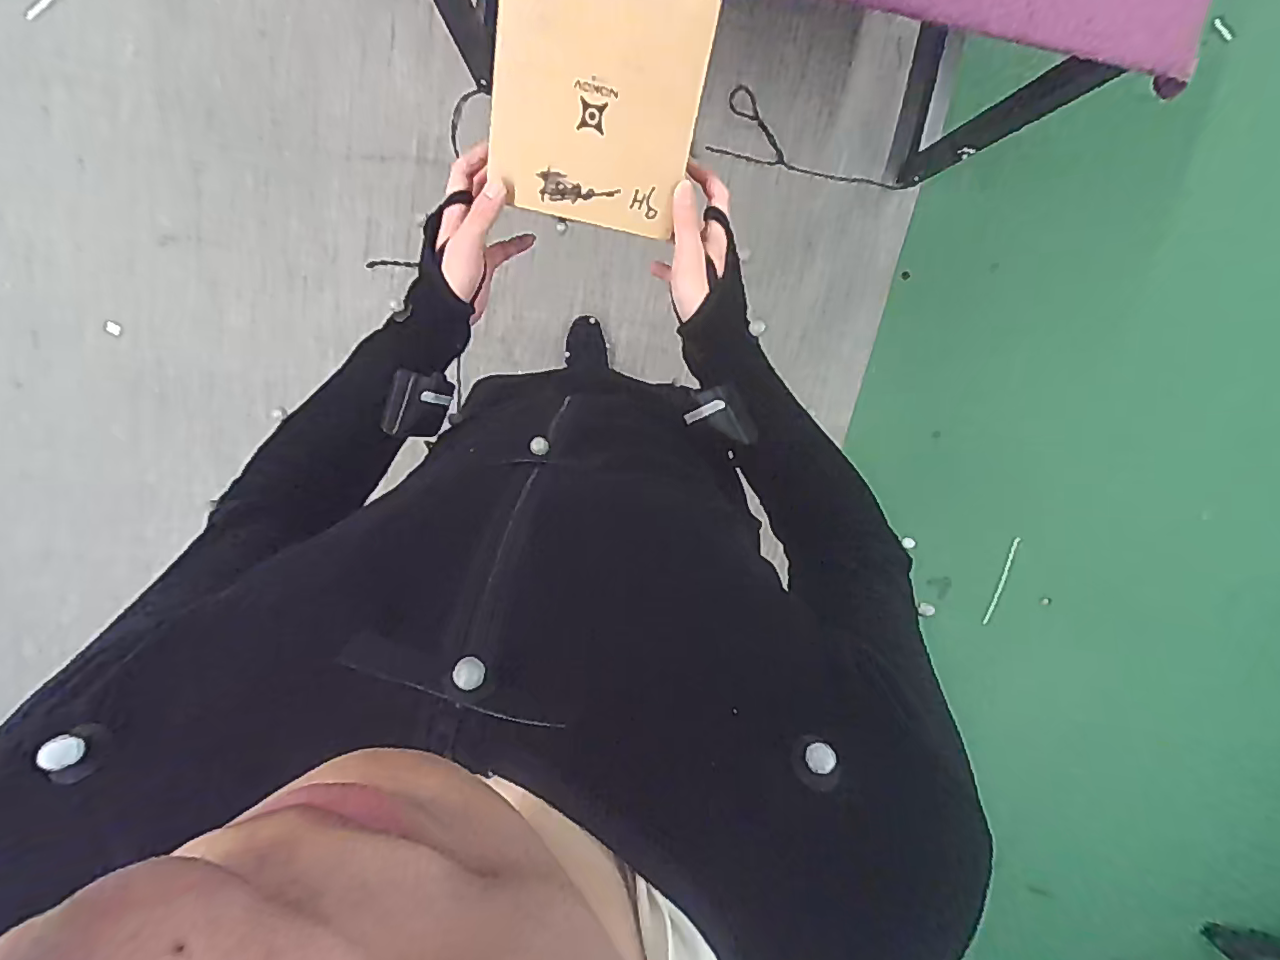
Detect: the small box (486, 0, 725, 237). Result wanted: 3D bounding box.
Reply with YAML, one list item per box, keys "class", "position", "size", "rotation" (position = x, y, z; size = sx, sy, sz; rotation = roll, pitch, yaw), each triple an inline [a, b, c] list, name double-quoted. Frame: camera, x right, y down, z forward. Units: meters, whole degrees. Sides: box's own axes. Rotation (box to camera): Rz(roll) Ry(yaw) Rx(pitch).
- class: "small box"
  position: [-0.032, -0.338, 0.500]
  size: [0.168, 0.176, 0.179]
  rotation: [12, 116, -3]
